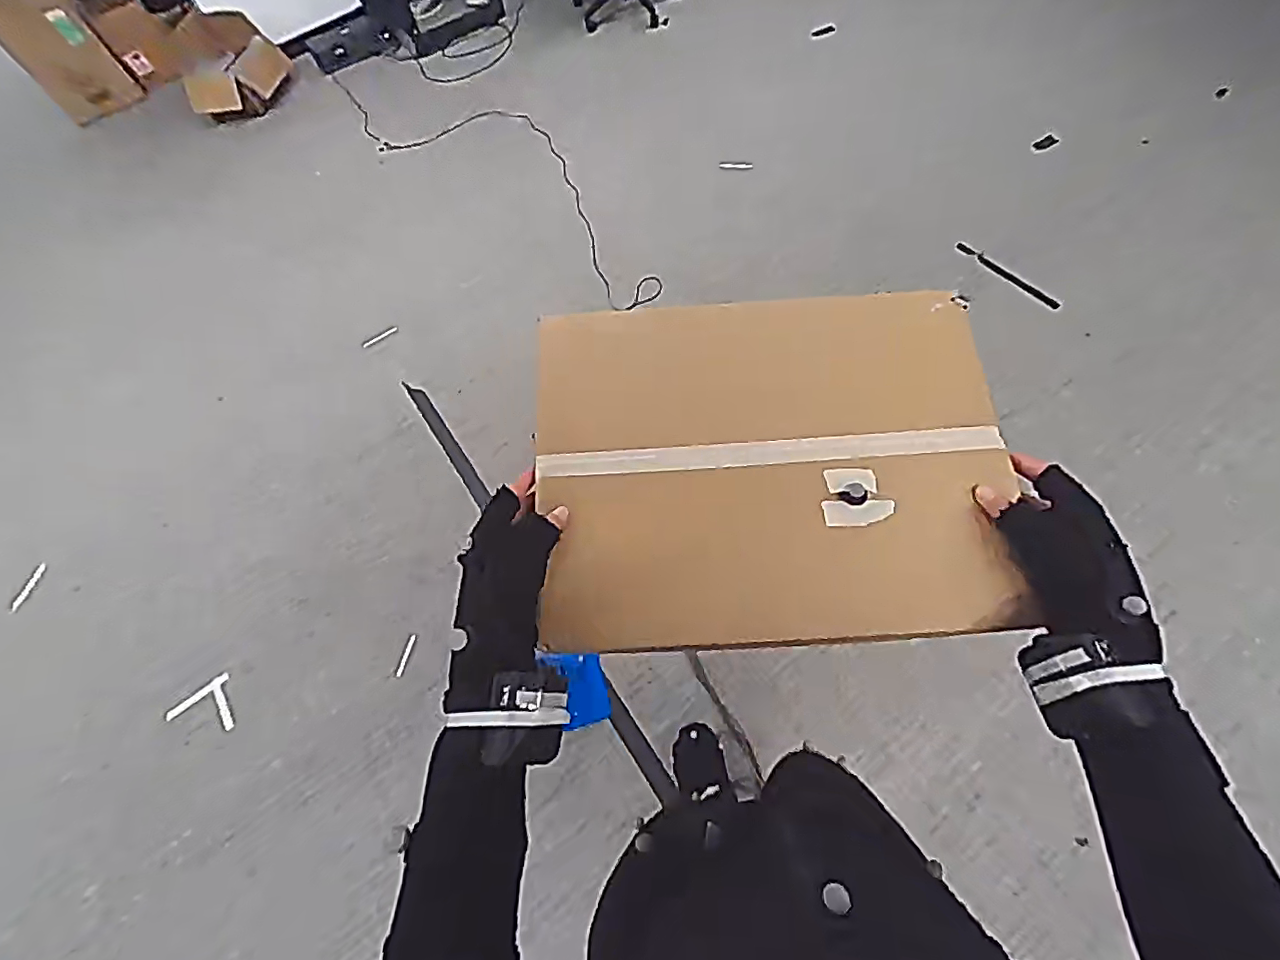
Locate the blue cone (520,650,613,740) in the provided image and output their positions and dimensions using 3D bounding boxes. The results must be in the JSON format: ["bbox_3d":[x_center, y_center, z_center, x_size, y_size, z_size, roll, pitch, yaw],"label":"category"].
[{"bbox_3d":[-0.199,0.463,1.231,0.193,0.380,0.192,-17,61,0],"label":"blue cone"}]

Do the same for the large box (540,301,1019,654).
[{"bbox_3d":[0.110,0.027,0.633,0.408,0.320,0.320,-3,72,1],"label":"large box"}]
